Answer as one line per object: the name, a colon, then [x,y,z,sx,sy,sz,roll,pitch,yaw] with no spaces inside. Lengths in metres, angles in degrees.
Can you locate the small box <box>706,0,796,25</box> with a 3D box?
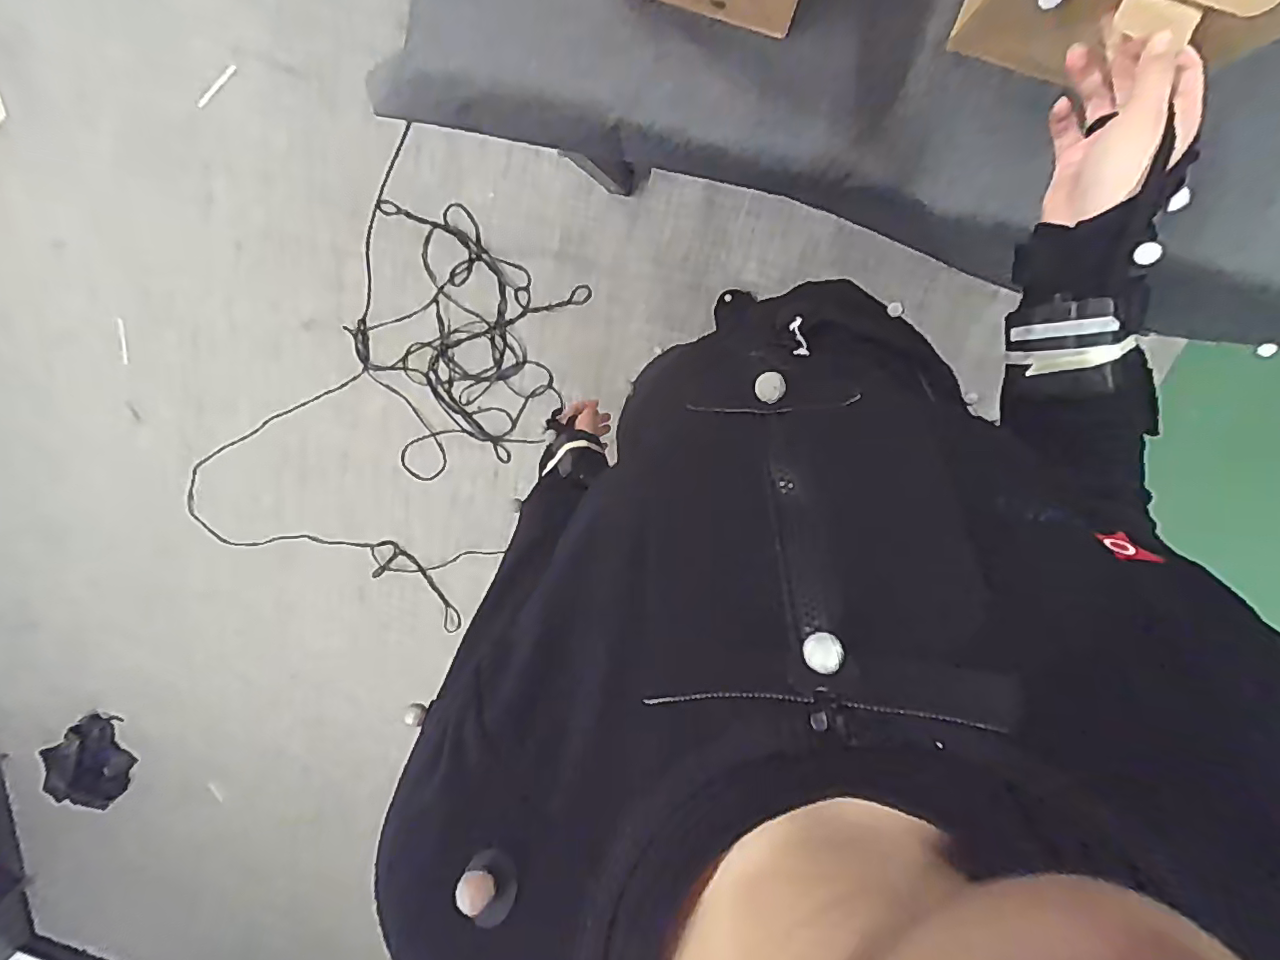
small box: [0.062,-0.458,0.360,0.168,0.176,0.179,19,109,1]

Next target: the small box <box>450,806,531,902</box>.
small box: [-0.491,1.246,1.808,0.168,0.176,0.179,41,109,-5]
